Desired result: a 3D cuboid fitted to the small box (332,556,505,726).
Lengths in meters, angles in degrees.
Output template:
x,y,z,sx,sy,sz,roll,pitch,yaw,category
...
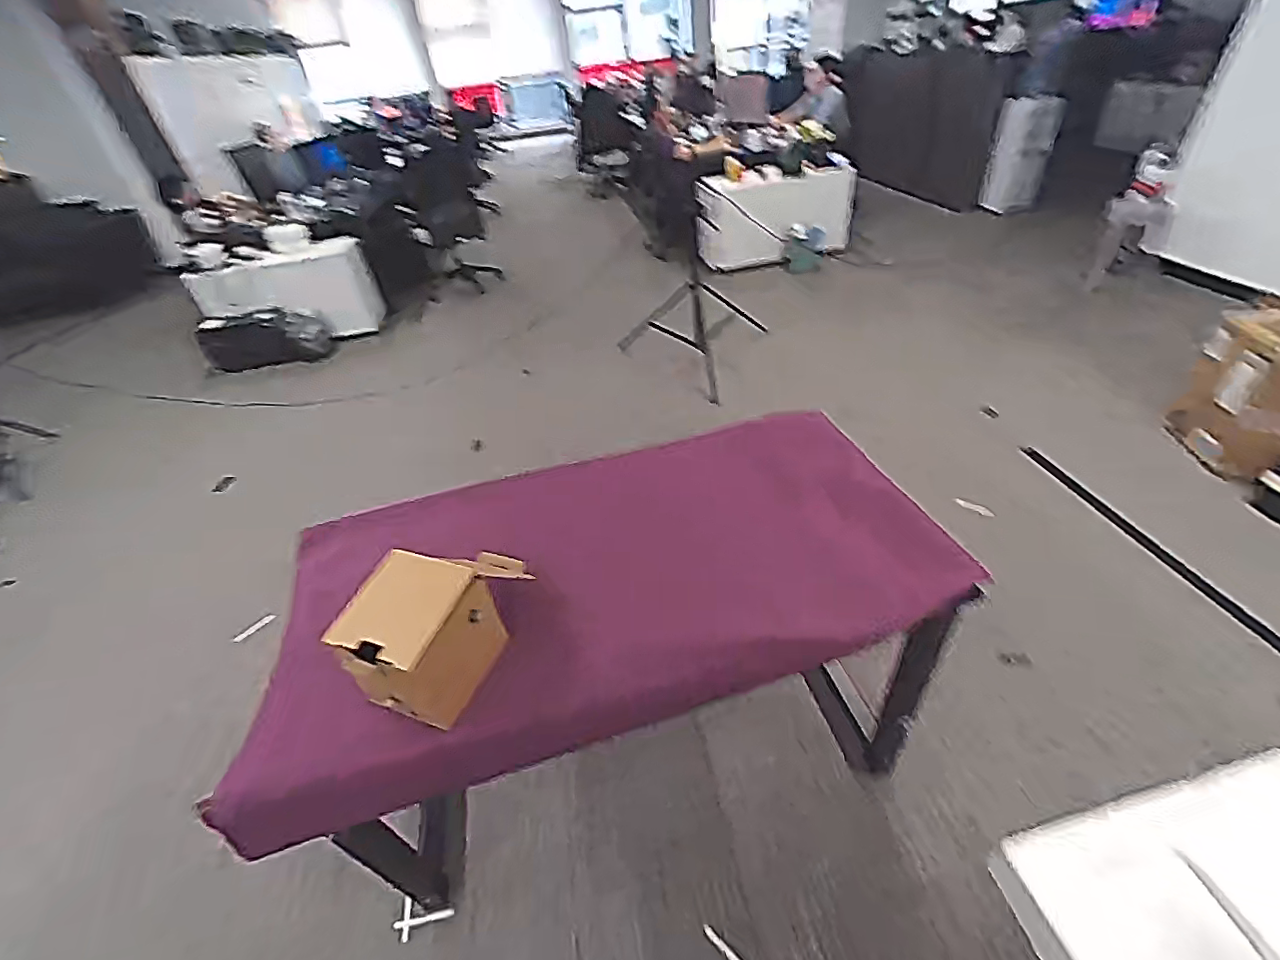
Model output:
x,y,z,sx,sy,sz,roll,pitch,yaw,category
-0.338,0.255,0.868,0.168,0.176,0.179,9,41,21,small box
